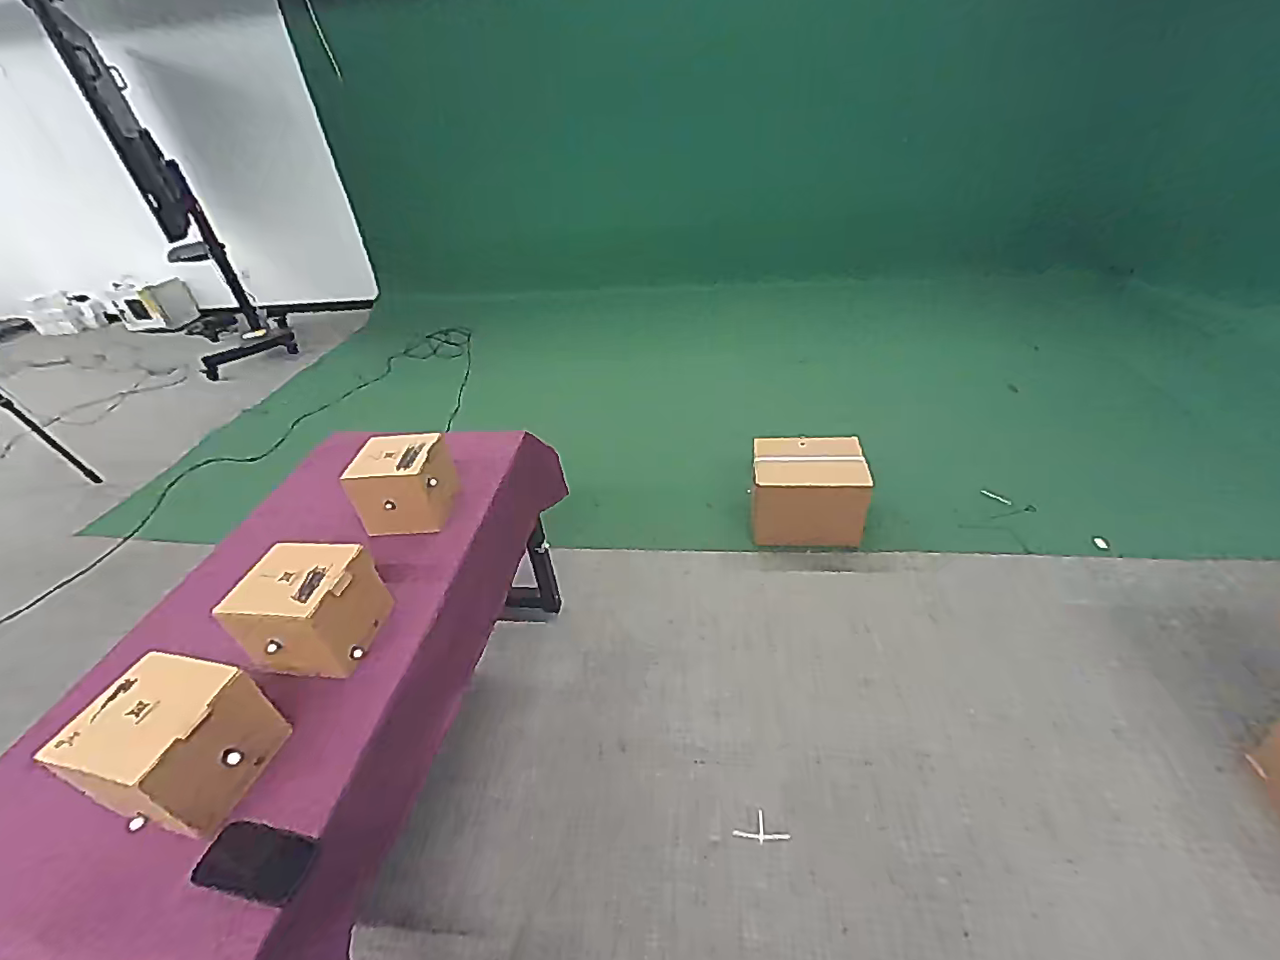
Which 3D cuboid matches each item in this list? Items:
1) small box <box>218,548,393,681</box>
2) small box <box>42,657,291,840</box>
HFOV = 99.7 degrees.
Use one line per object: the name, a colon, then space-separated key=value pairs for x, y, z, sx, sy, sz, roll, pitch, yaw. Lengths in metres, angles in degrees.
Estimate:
small box: x=-0.579 y=0.241 z=0.967 sx=0.179 sy=0.176 sz=0.168 roll=-1 pitch=36 yaw=9
small box: x=-0.658 y=0.387 z=0.780 sx=0.179 sy=0.176 sz=0.168 roll=5 pitch=38 yaw=14
